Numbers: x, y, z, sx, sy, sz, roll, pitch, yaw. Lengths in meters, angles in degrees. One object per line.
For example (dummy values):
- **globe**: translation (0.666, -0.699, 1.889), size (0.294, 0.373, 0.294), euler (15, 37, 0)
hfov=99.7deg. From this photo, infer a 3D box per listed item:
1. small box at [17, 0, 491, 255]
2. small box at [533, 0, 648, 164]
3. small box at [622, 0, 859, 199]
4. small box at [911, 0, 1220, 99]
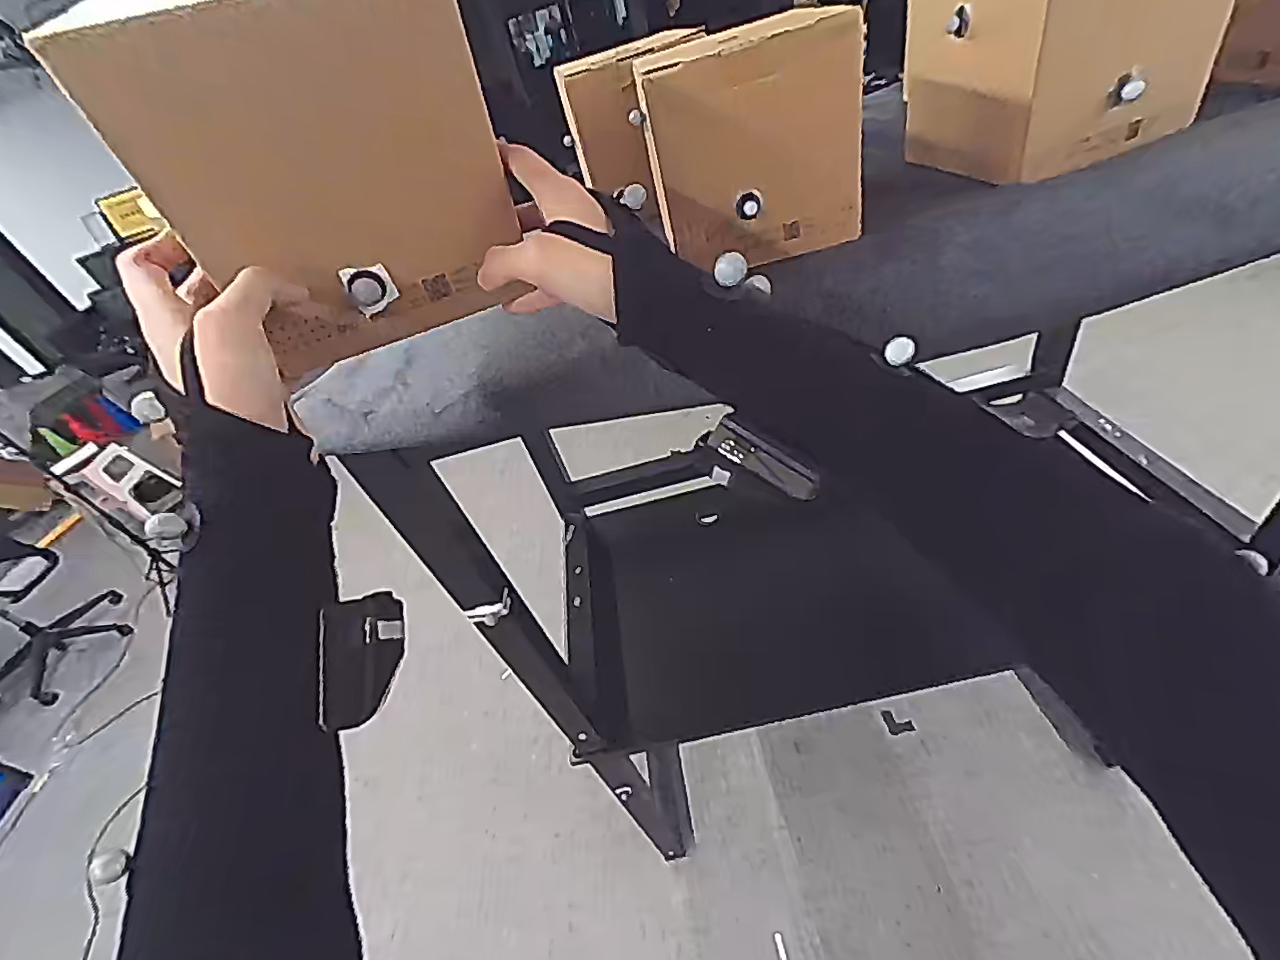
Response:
- **small box**: translation (-0.202, -0.249, 0.290), size (0.168, 0.176, 0.179), euler (-26, 51, -13)
- **small box**: translation (-0.022, -0.507, 0.658), size (0.168, 0.176, 0.179), euler (-17, 41, 1)
- **small box**: translation (0.078, -0.366, 0.471), size (0.168, 0.176, 0.179), euler (-13, 41, 6)
- **small box**: translation (0.355, -0.444, 0.455), size (0.168, 0.176, 0.179), euler (-19, 41, 0)
